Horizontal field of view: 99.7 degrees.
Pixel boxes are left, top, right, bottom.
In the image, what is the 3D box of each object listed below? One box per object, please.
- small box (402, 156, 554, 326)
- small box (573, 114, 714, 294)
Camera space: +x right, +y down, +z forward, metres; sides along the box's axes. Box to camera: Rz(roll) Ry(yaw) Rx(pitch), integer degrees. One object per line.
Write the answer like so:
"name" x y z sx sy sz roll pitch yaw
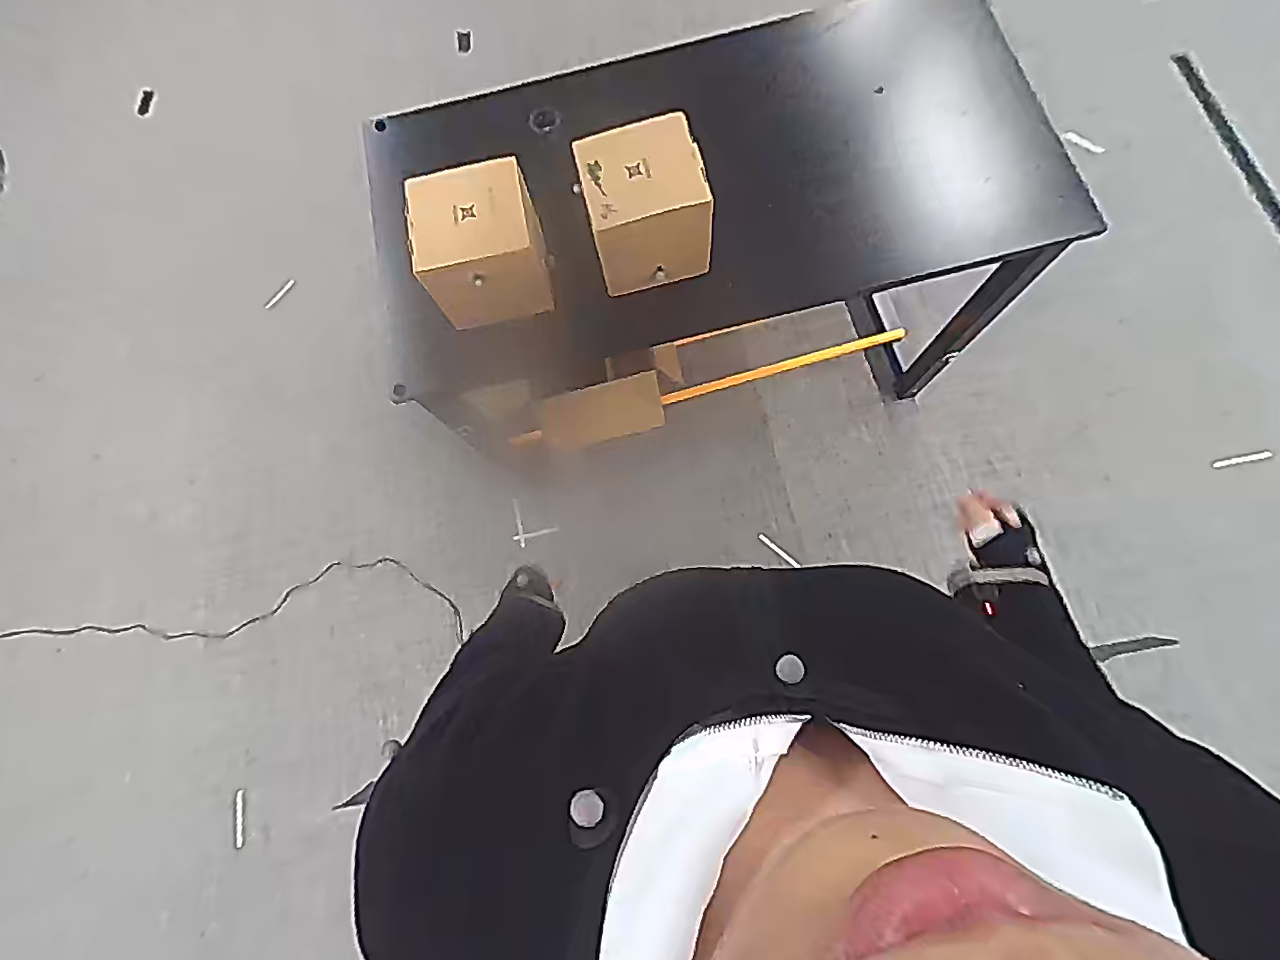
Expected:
"small box" -0.250 -0.369 0.864 0.179 0.176 0.168 -13 76 1
"small box" 0.007 -0.426 0.857 0.179 0.176 0.168 -14 75 0
